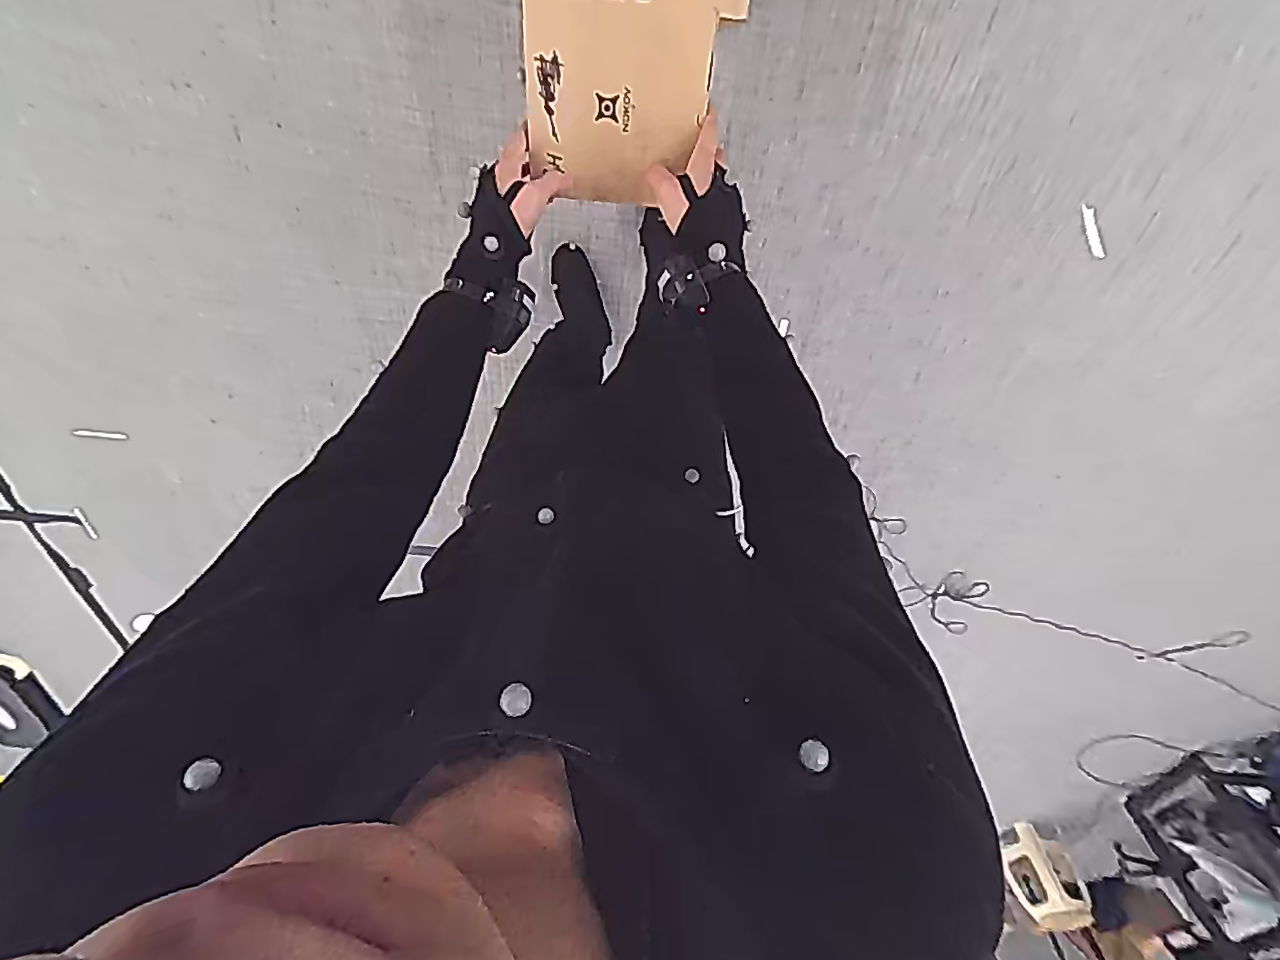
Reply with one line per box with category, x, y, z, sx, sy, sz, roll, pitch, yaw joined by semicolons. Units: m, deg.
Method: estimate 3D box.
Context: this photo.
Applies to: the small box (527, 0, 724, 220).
small box;-0.018;-0.396;0.580;0.179;0.176;0.168;5;129;-2
